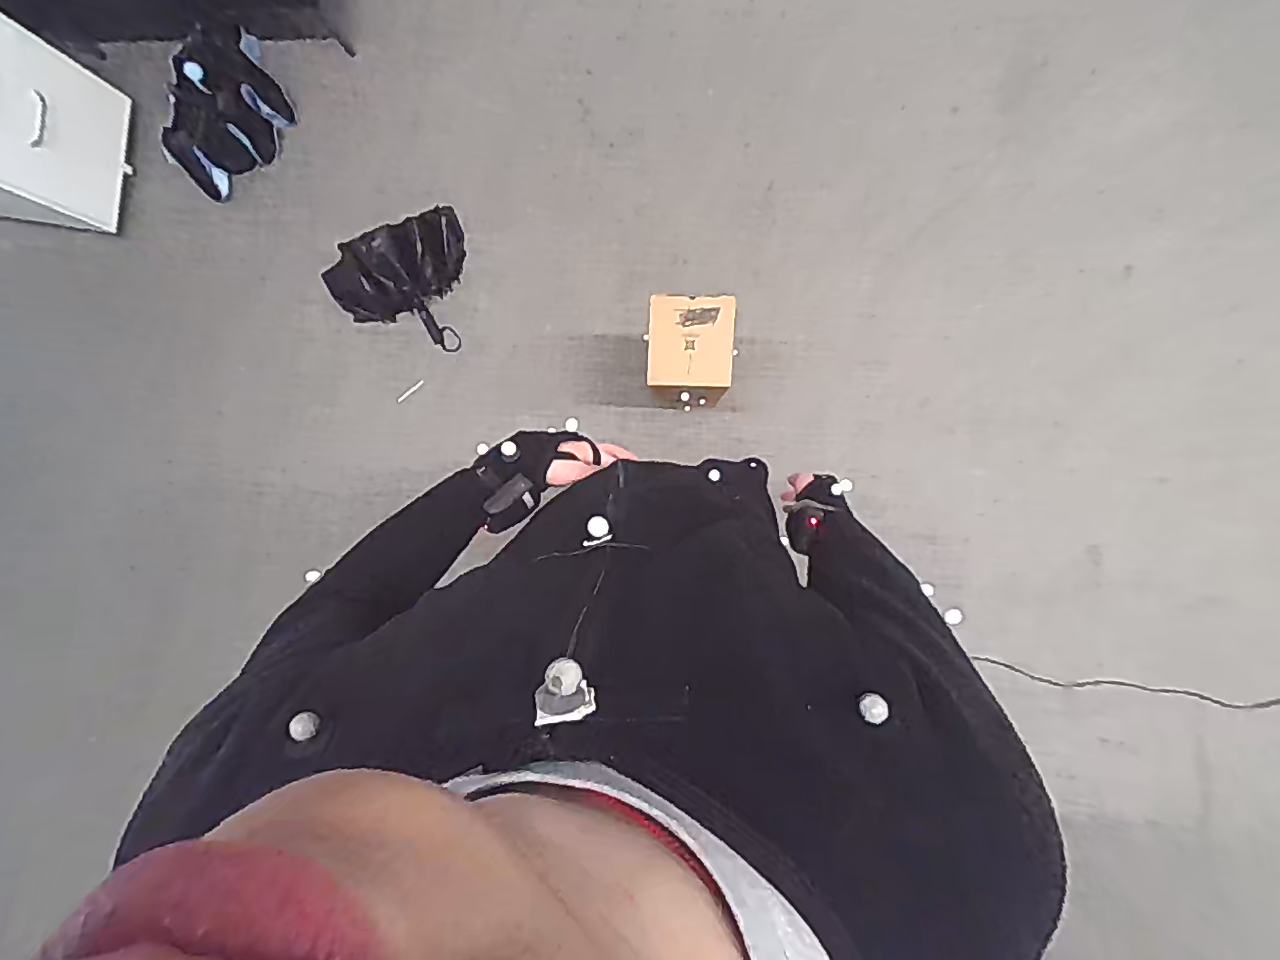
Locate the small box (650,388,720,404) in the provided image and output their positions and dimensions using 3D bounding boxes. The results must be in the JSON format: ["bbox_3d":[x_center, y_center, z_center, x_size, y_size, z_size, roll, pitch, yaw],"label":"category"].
[{"bbox_3d":[0.115,-0.276,1.274,0.168,0.176,0.179,2,91,4],"label":"small box"}]

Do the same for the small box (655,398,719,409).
[{"bbox_3d":[0.127,-0.282,1.435,0.168,0.176,0.179,2,93,4],"label":"small box"}]

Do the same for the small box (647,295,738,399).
[{"bbox_3d":[0.104,-0.266,1.110,0.168,0.176,0.179,3,94,4],"label":"small box"}]
